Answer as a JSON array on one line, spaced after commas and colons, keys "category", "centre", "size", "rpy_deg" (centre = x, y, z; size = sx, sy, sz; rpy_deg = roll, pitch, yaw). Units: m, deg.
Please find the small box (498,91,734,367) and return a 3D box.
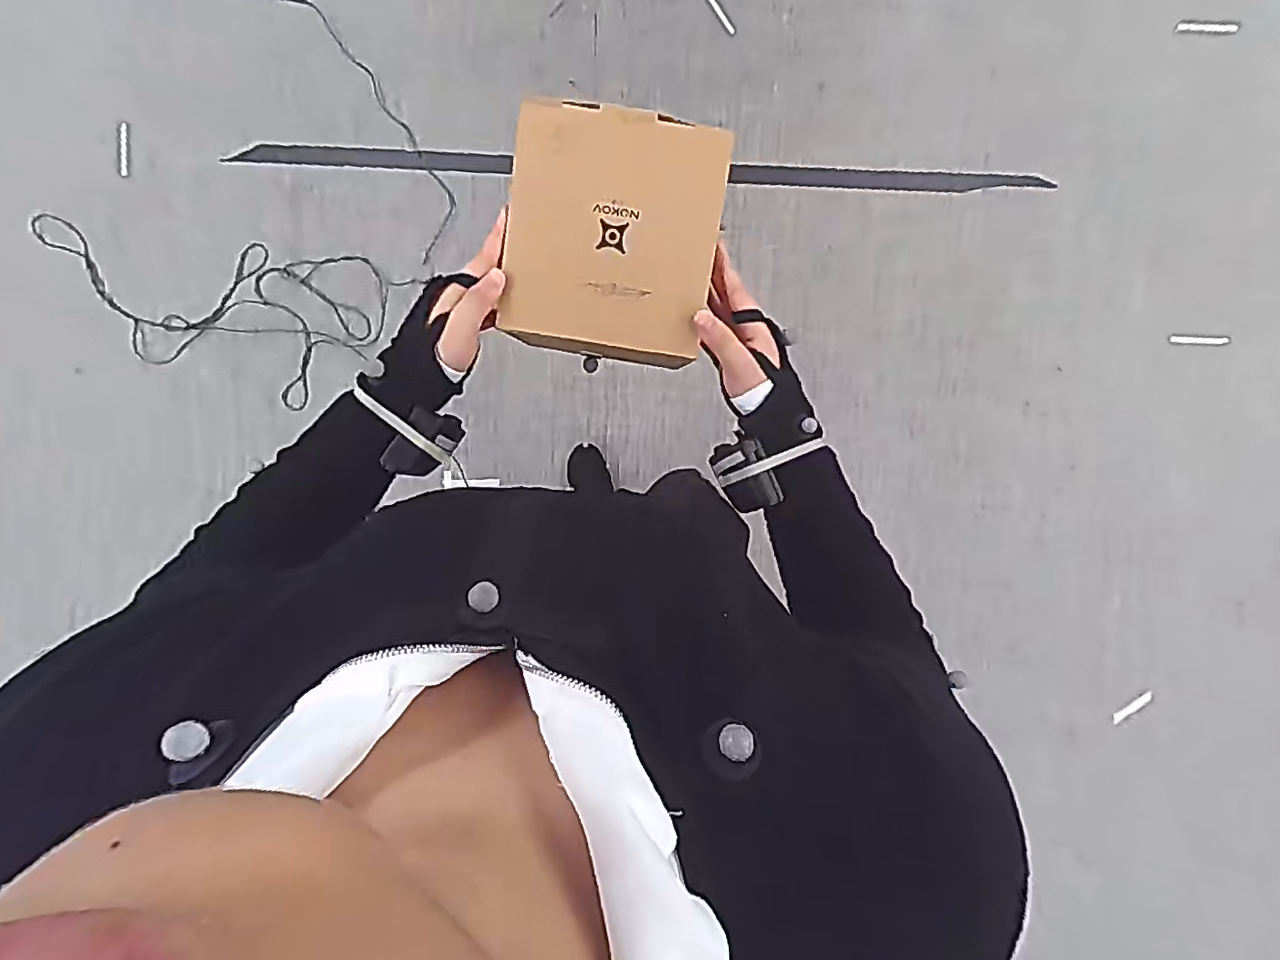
[{"category": "small box", "centre": [-0.023, -0.208, 0.502], "size": [0.168, 0.176, 0.179], "rpy_deg": [9, 98, -2]}]
